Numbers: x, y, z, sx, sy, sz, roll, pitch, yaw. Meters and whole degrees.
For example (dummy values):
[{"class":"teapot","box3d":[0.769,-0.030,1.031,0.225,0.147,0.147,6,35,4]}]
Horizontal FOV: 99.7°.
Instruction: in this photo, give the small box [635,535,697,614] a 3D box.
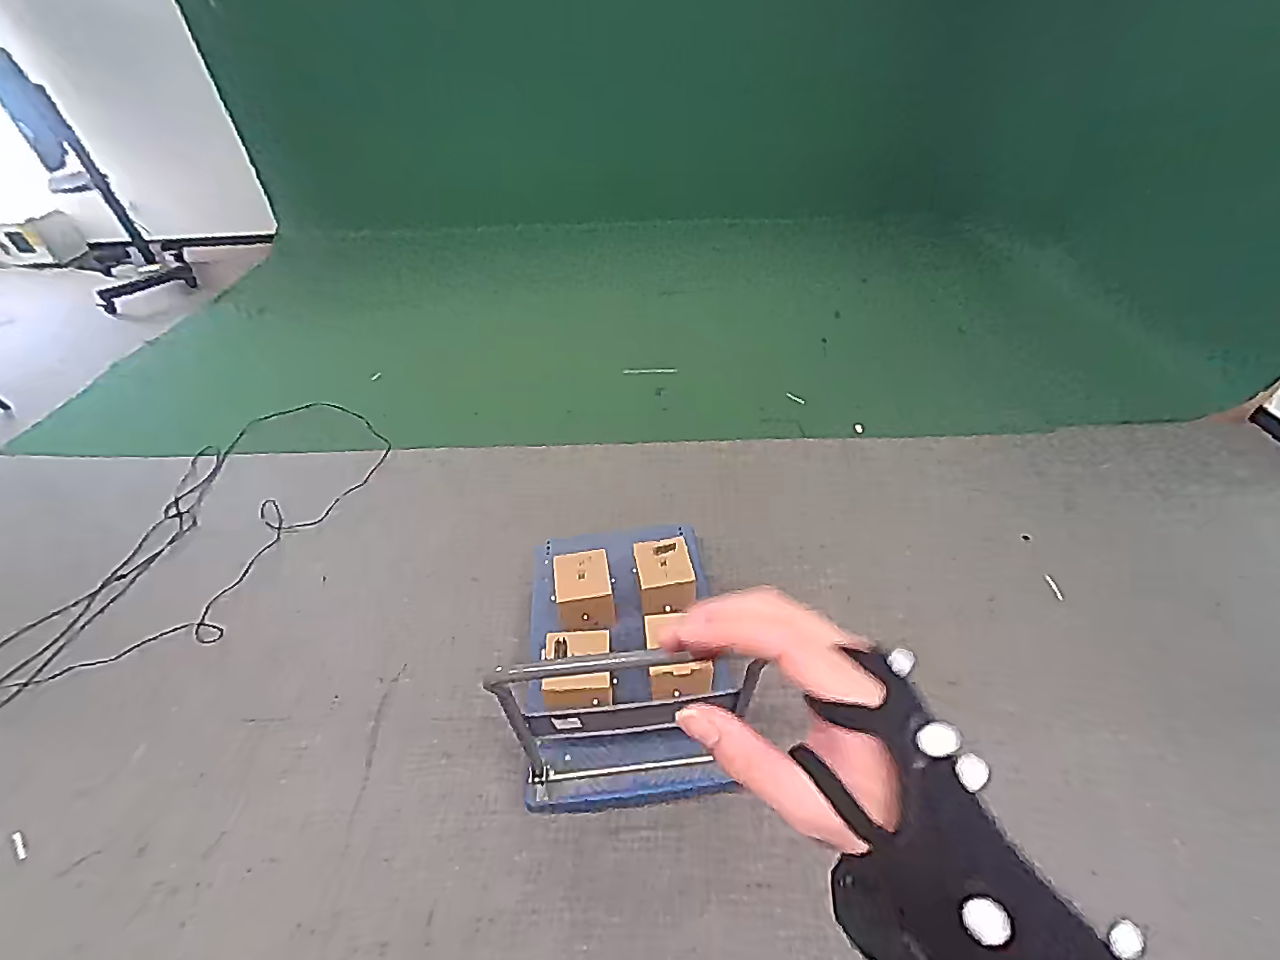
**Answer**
[{"class":"small box","box3d":[0.078,0.303,1.703,0.168,0.176,0.179,-8,45,-5]}]

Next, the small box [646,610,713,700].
[{"class":"small box","box3d":[0.105,0.489,1.509,0.168,0.176,0.179,-5,44,-2]}]

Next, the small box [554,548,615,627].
[{"class":"small box","box3d":[-0.171,0.339,1.679,0.168,0.176,0.179,-7,44,-6]}]
